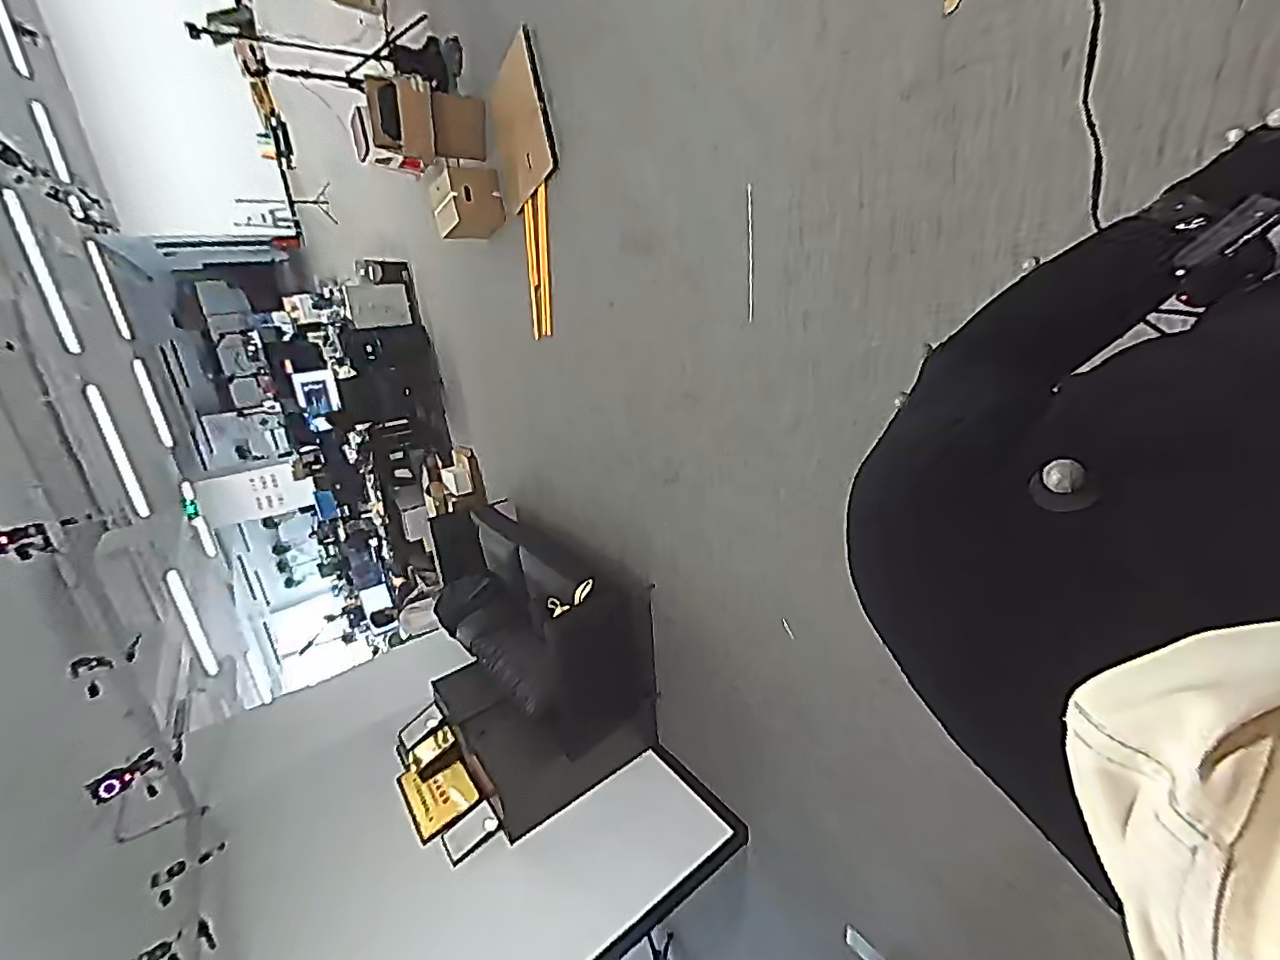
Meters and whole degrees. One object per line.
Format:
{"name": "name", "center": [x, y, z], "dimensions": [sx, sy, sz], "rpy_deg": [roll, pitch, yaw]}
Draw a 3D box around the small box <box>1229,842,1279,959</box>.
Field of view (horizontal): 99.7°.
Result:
{"name": "small box", "center": [1.466, 0.959, 1.196], "dimensions": [0.168, 0.176, 0.179], "rpy_deg": [26, 126, 49]}
